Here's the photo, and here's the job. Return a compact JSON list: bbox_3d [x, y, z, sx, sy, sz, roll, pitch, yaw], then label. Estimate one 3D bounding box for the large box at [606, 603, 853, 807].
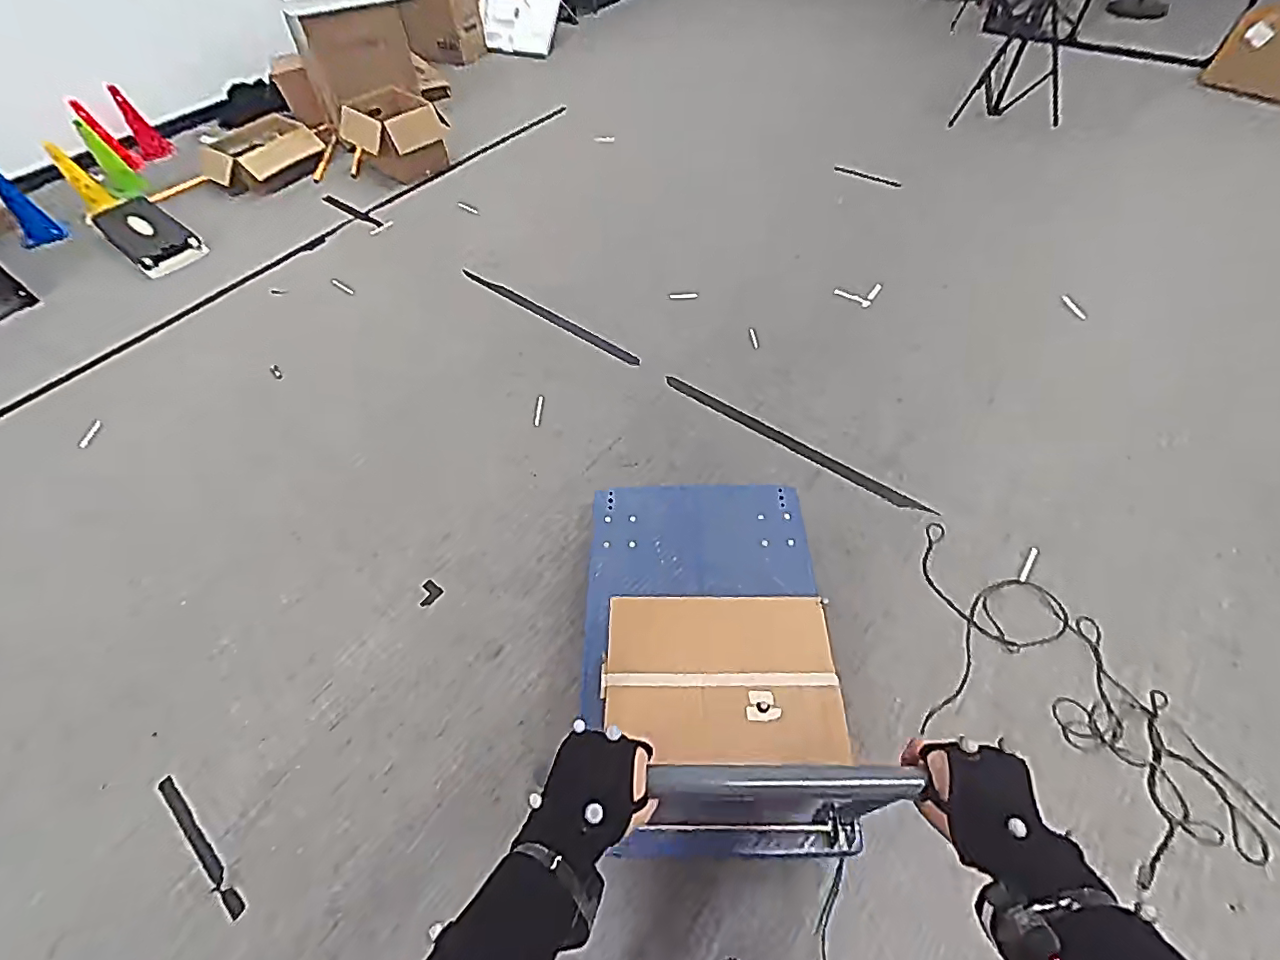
[{"bbox_3d":[0.143,0.449,1.064,0.408,0.320,0.320,0,55,1],"label":"large box"}]
